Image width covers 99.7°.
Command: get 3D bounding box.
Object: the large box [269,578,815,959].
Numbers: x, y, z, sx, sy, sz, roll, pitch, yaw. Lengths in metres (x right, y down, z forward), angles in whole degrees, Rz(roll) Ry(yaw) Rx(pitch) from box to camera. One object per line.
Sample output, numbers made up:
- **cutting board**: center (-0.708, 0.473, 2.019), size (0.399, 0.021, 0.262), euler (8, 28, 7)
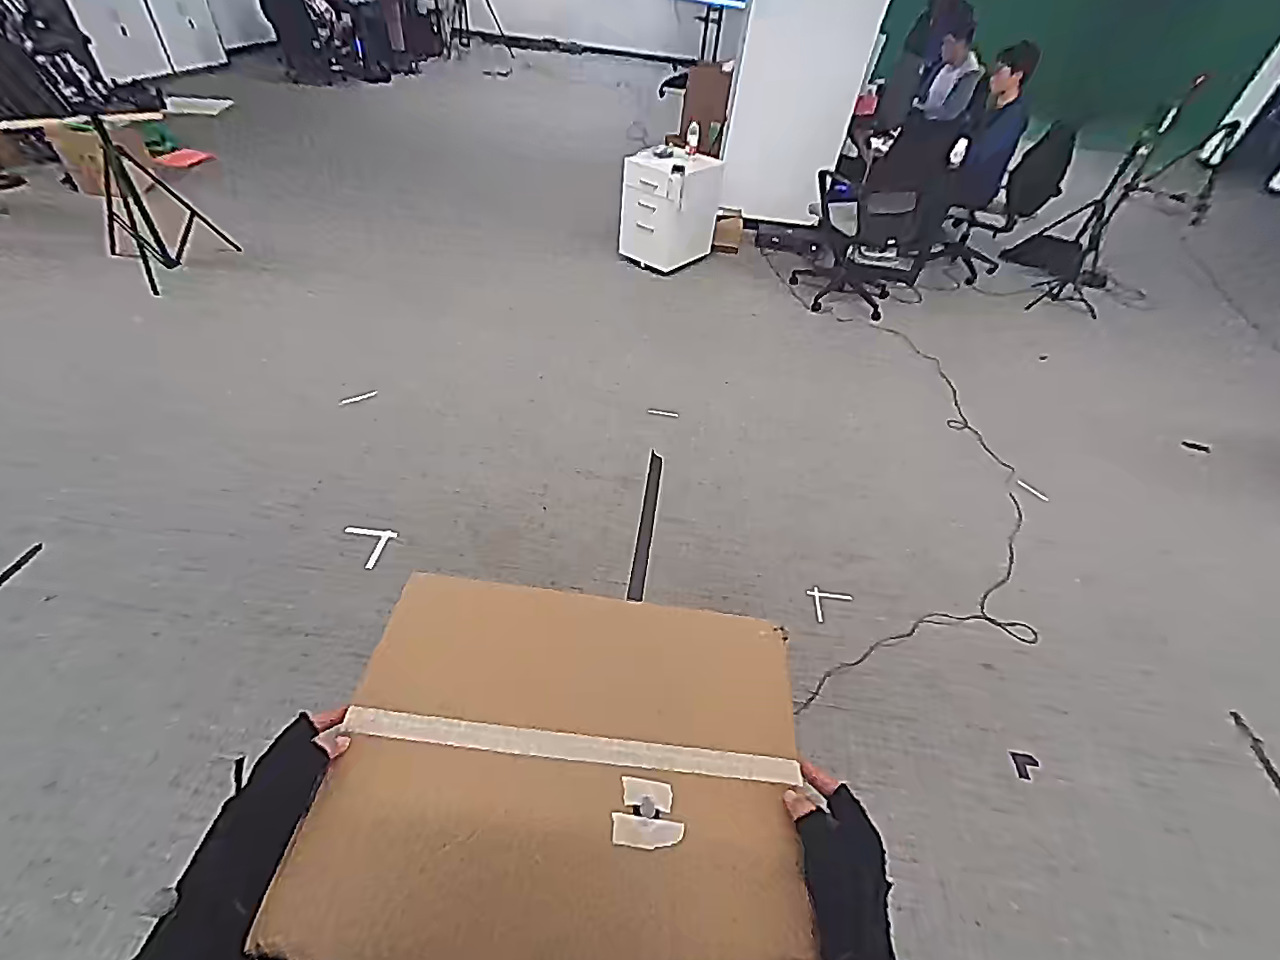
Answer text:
- **large box**: center (-0.076, 0.343, 0.594), size (0.408, 0.320, 0.320), euler (9, 46, -2)
